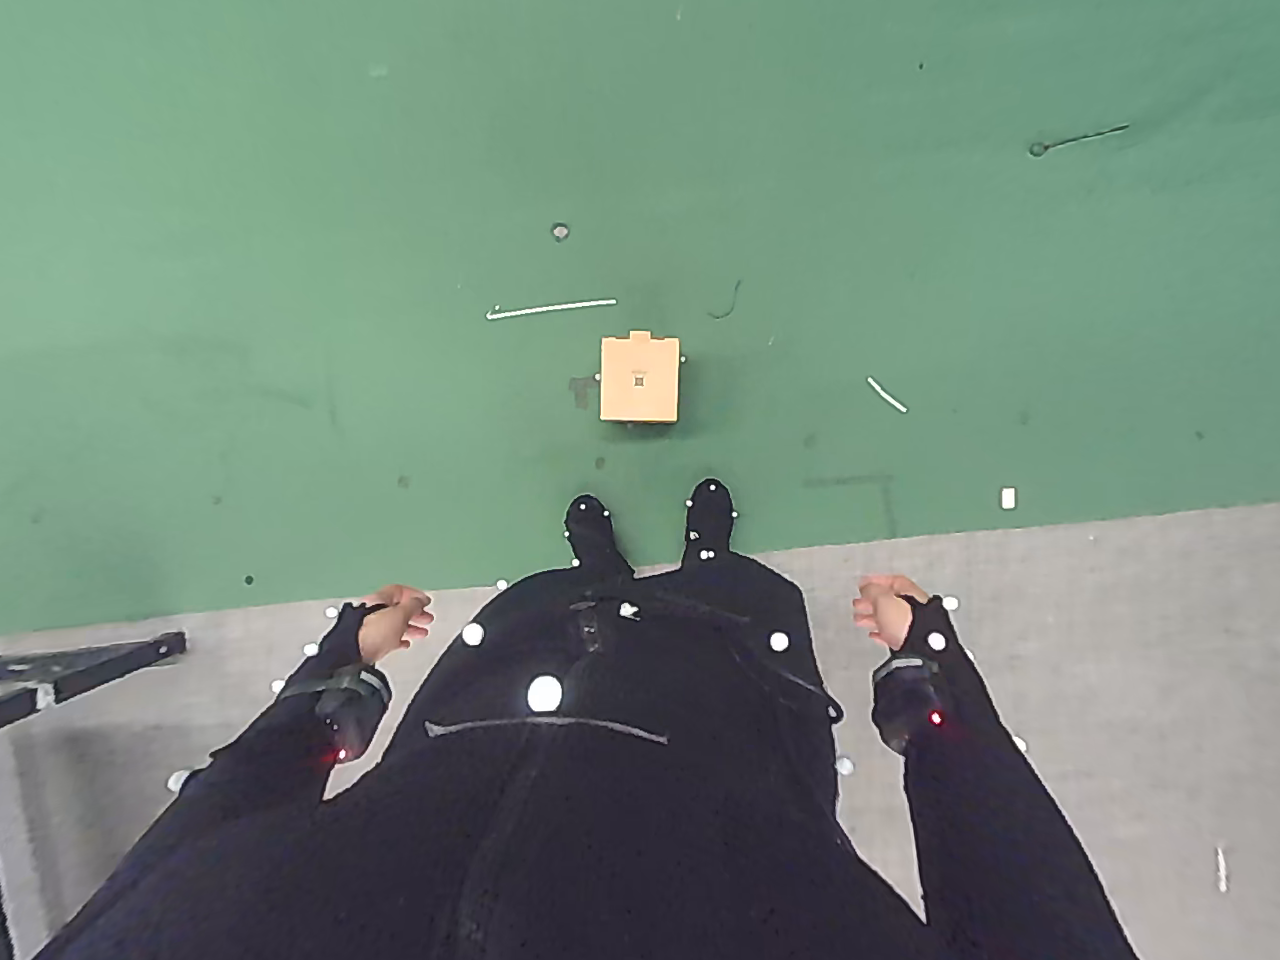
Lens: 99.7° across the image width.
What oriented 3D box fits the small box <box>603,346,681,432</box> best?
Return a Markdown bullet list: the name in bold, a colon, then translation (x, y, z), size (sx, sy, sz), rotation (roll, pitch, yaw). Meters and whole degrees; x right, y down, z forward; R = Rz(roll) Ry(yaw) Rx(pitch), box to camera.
- **small box**: translation (0.008, -0.200, 1.224), size (0.168, 0.176, 0.179), rotation (1, 93, 3)
